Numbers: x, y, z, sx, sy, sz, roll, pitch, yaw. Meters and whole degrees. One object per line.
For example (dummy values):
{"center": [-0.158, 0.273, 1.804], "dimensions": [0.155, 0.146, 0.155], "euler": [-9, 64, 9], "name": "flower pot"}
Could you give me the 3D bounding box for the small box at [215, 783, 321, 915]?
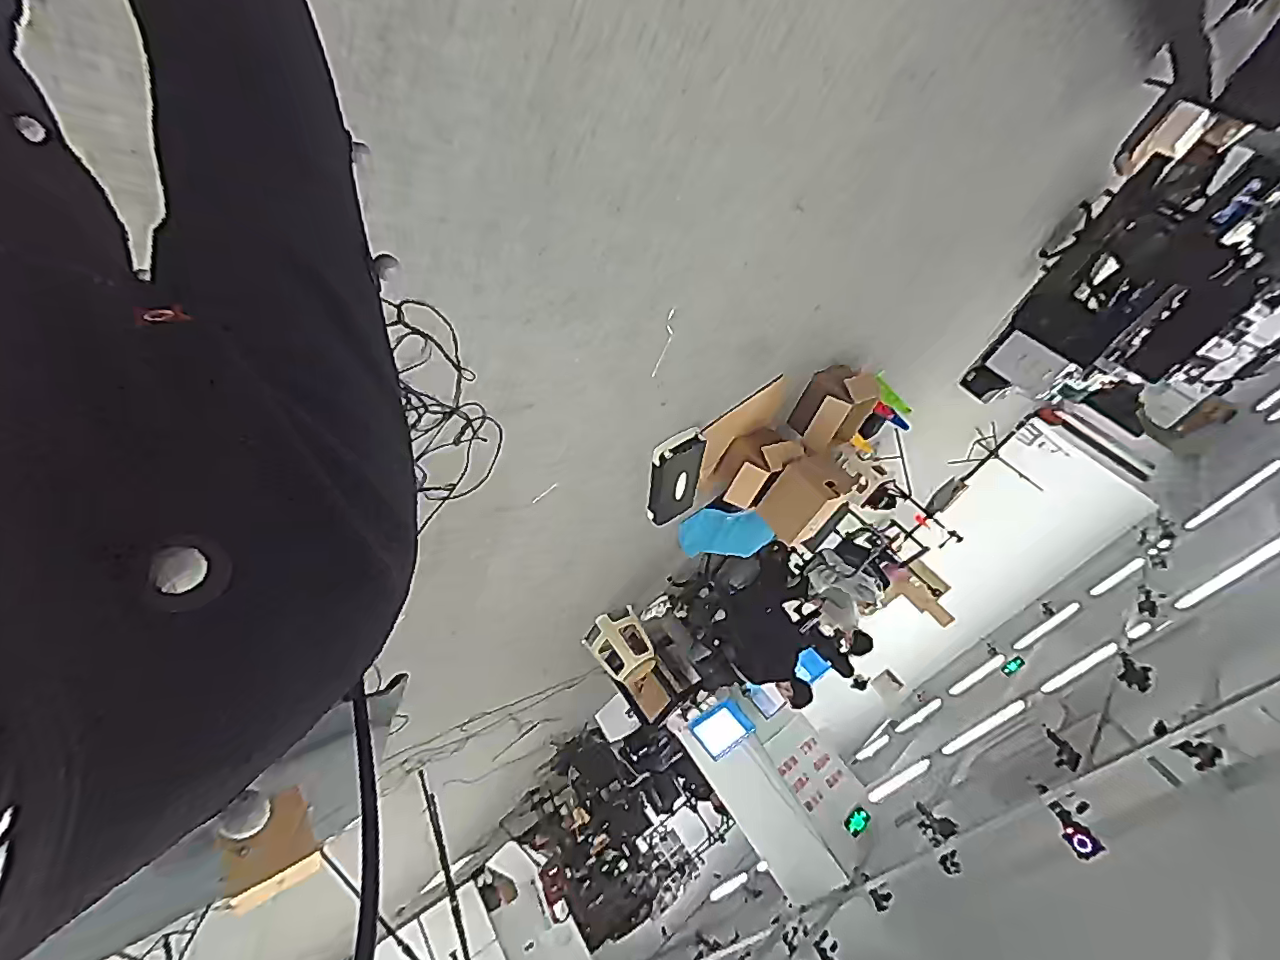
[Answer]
{"center": [-0.872, 0.859, 1.269], "dimensions": [0.179, 0.176, 0.168], "euler": [-16, 145, -41], "name": "small box"}
